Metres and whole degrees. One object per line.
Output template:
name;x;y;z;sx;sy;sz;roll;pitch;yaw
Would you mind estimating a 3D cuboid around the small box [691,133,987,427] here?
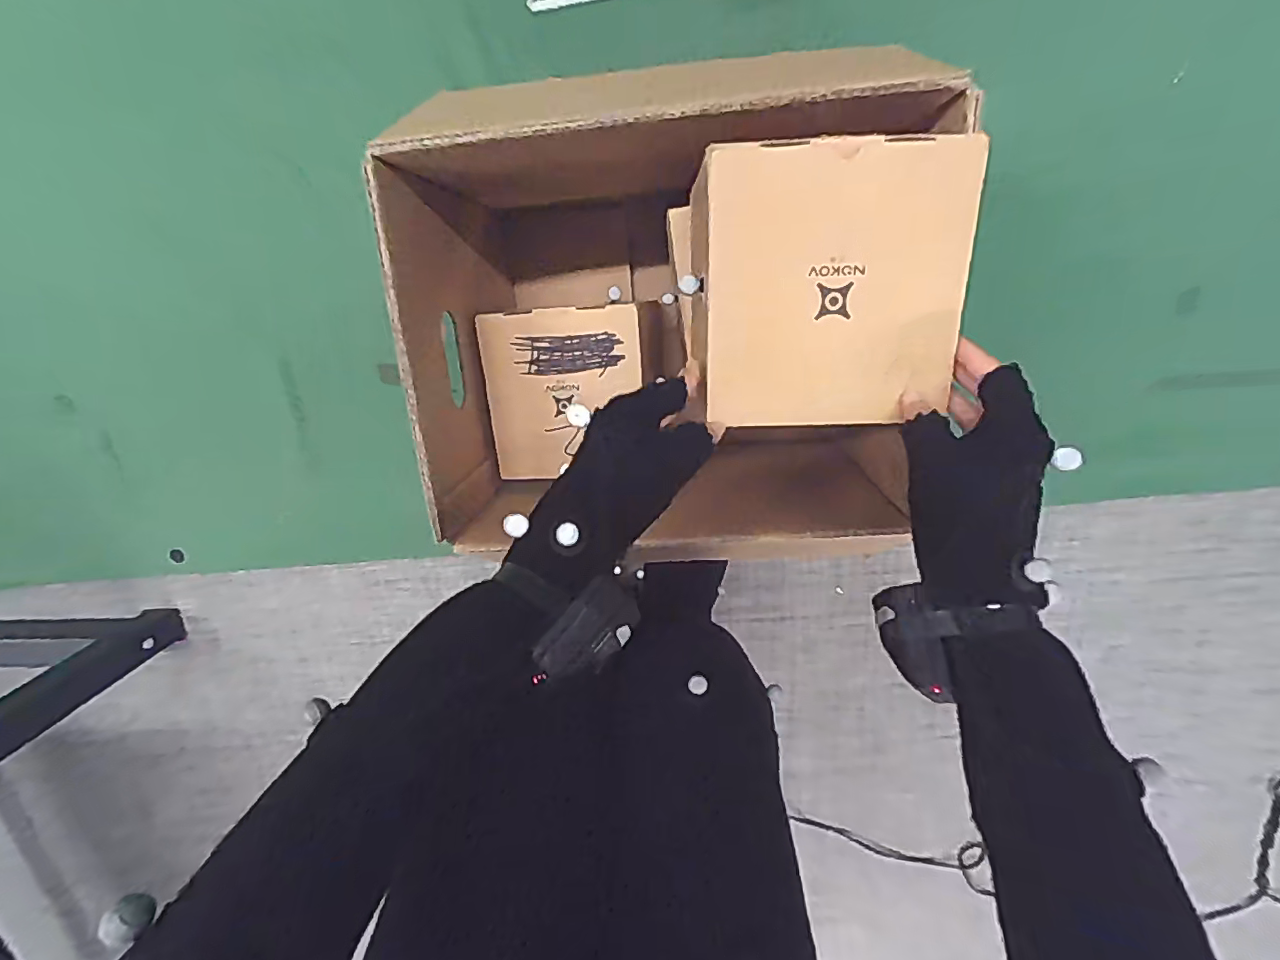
small box;0.127;-0.145;0.421;0.168;0.176;0.179;-1;108;3
